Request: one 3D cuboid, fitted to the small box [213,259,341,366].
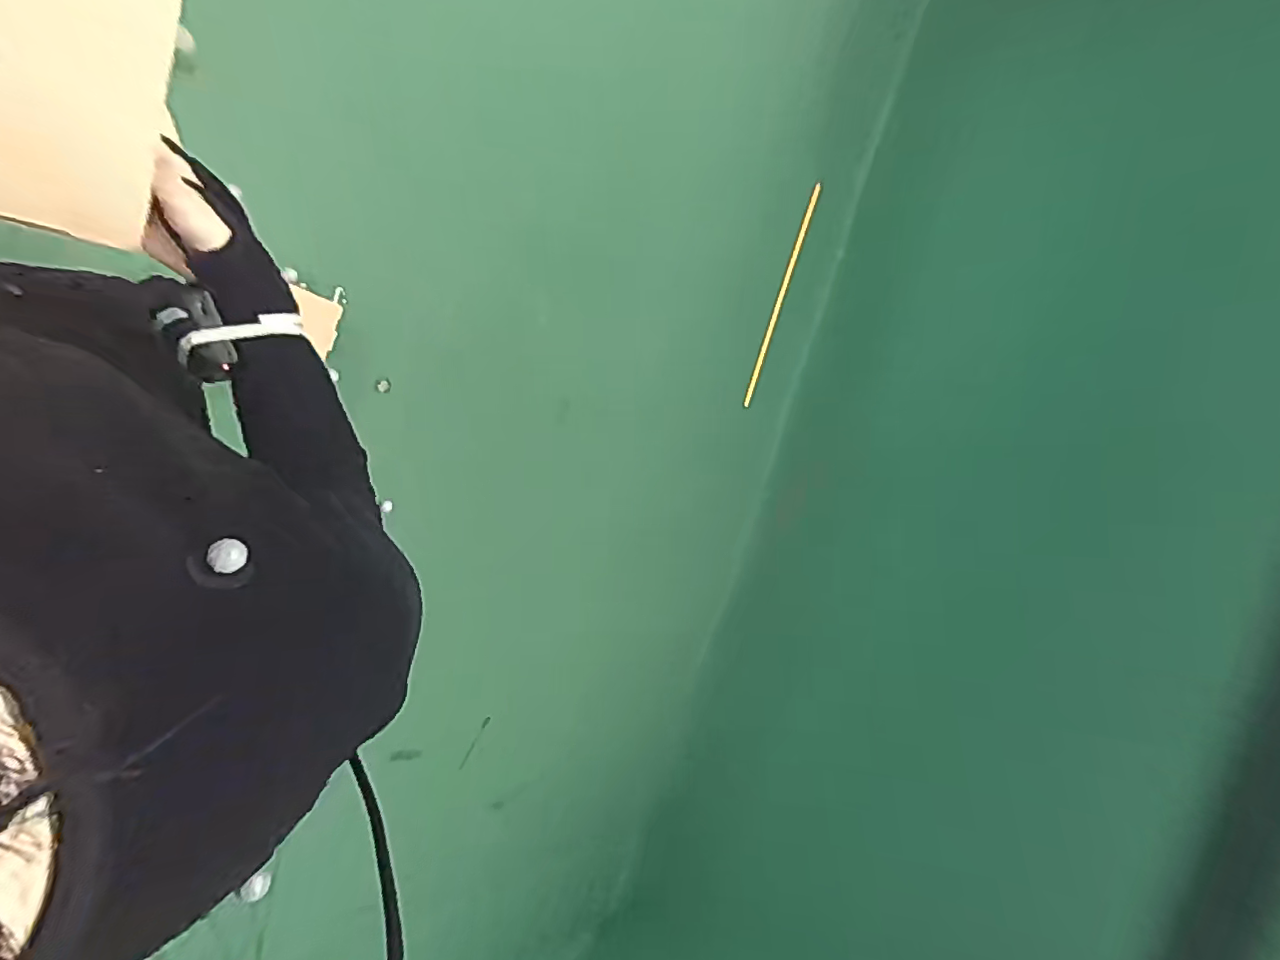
[{"bbox_3d":[-0.813,-0.371,1.207,0.179,0.176,0.168,20,90,-52],"label":"small box"}]
